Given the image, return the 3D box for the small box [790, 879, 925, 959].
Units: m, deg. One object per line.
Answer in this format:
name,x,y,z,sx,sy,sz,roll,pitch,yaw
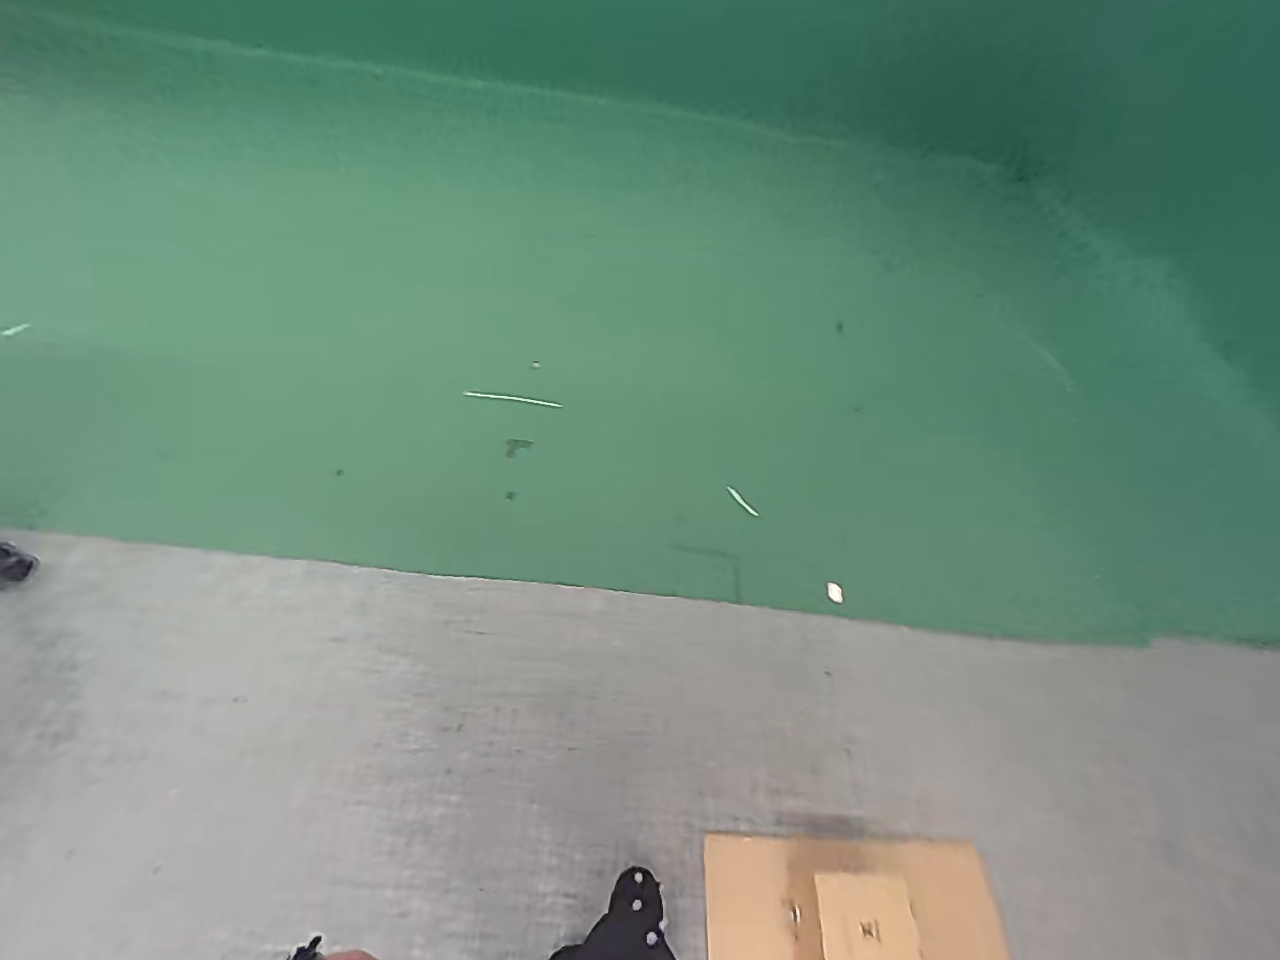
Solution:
small box,0.394,0.840,0.995,0.179,0.176,0.168,5,52,-3
